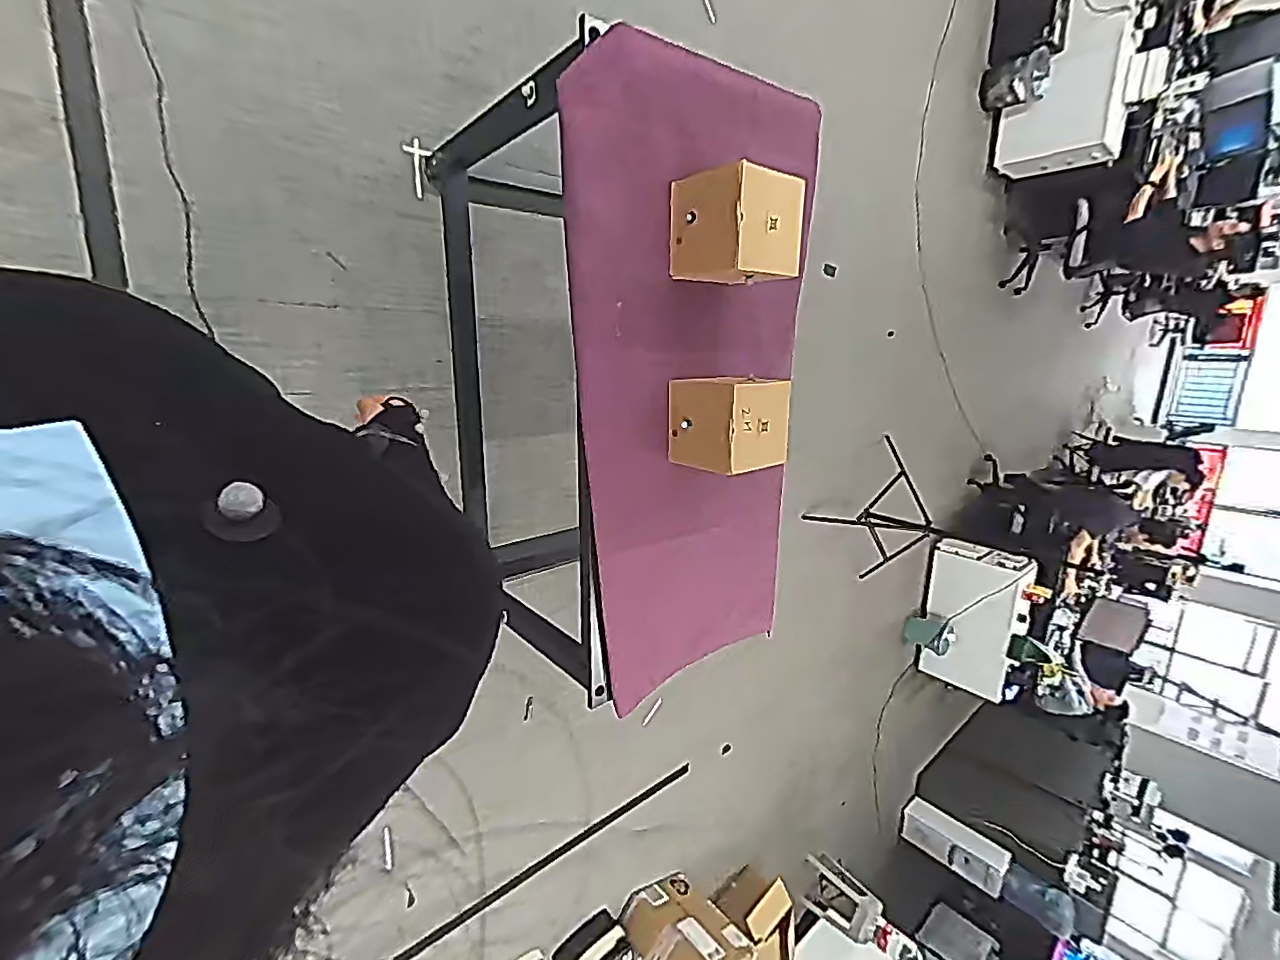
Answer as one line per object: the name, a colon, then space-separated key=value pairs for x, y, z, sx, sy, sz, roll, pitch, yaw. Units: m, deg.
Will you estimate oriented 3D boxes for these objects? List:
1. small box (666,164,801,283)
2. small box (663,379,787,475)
small box: x=0.169 y=-0.458 z=0.996 sx=0.179 sy=0.176 sz=0.168 roll=-12 pitch=109 yaw=-38
small box: x=0.168 y=-0.115 z=1.081 sx=0.179 sy=0.176 sz=0.168 roll=-11 pitch=107 yaw=-39
